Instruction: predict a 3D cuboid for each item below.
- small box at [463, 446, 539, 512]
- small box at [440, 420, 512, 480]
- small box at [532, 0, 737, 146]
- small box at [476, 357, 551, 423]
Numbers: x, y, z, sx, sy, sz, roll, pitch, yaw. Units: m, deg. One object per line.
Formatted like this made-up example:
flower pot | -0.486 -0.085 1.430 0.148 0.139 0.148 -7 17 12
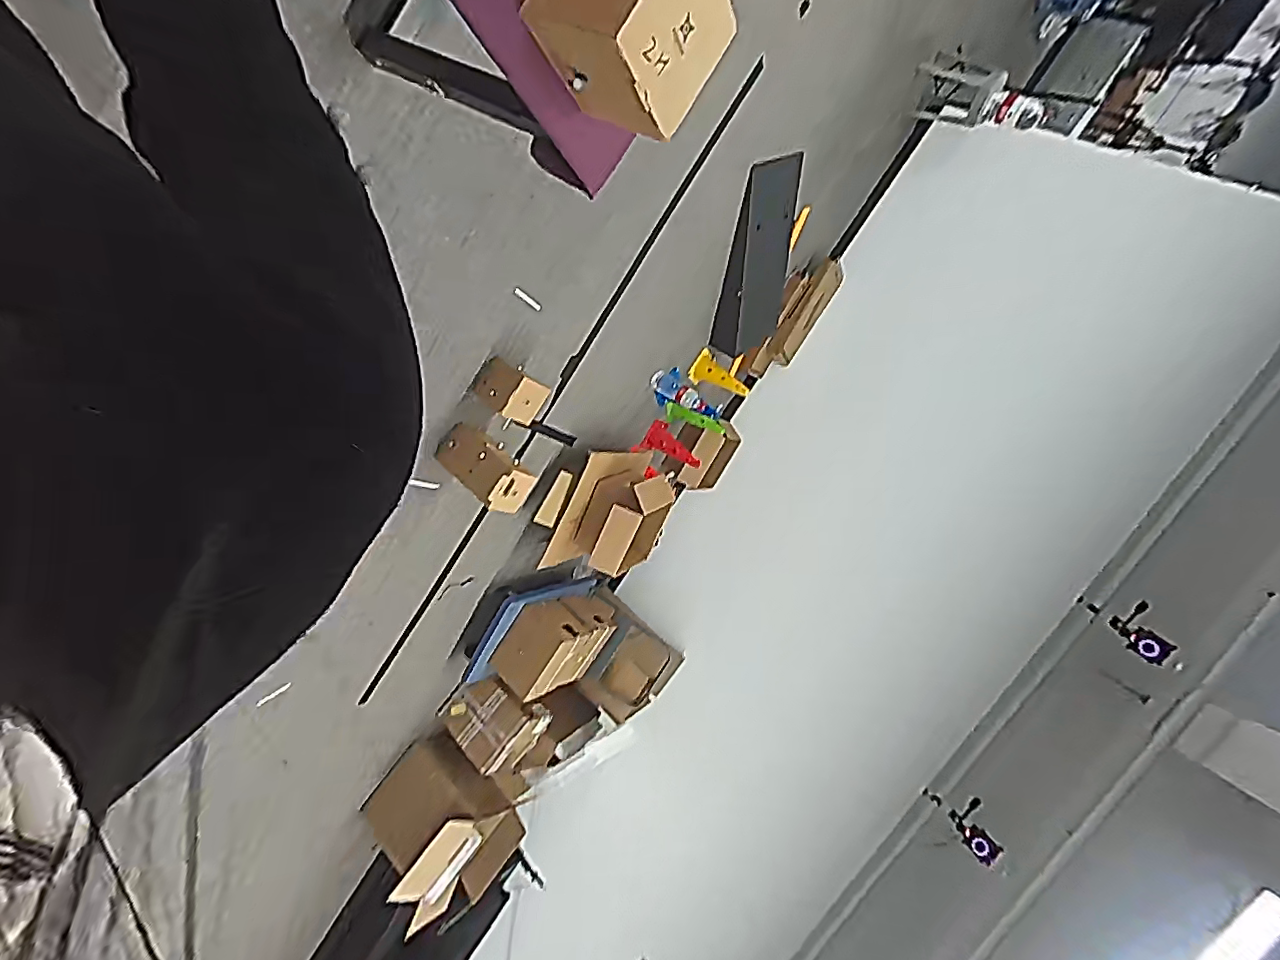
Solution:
small box | -0.516 -0.006 1.999 0.168 0.176 0.179 -55 158 3
small box | -0.634 -0.098 2.069 0.179 0.176 0.168 -53 157 2
small box | -0.005 -0.586 0.697 0.179 0.176 0.168 -56 156 6
small box | -0.477 -0.340 2.026 0.168 0.176 0.179 -55 158 8
